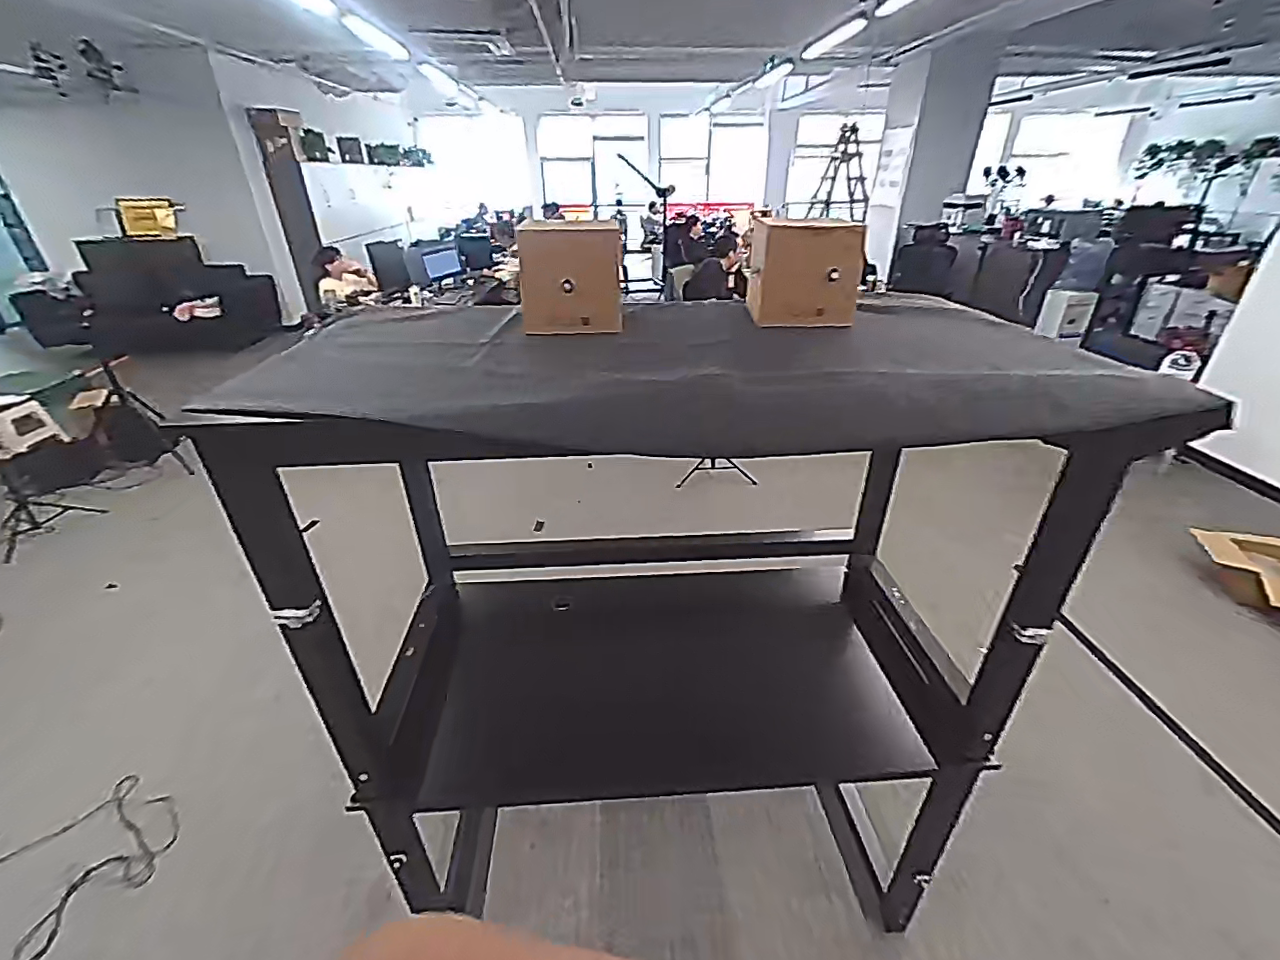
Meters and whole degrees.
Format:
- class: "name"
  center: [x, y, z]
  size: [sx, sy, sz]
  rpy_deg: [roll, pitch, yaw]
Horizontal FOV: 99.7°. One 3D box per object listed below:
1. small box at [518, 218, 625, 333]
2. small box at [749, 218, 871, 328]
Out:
- class: "small box"
  center: [-0.113, -0.361, 0.956]
  size: [0.168, 0.176, 0.179]
  rpy_deg: [-2, 30, -4]
- class: "small box"
  center: [0.298, -0.379, 0.986]
  size: [0.168, 0.176, 0.179]
  rpy_deg: [1, 29, 1]
